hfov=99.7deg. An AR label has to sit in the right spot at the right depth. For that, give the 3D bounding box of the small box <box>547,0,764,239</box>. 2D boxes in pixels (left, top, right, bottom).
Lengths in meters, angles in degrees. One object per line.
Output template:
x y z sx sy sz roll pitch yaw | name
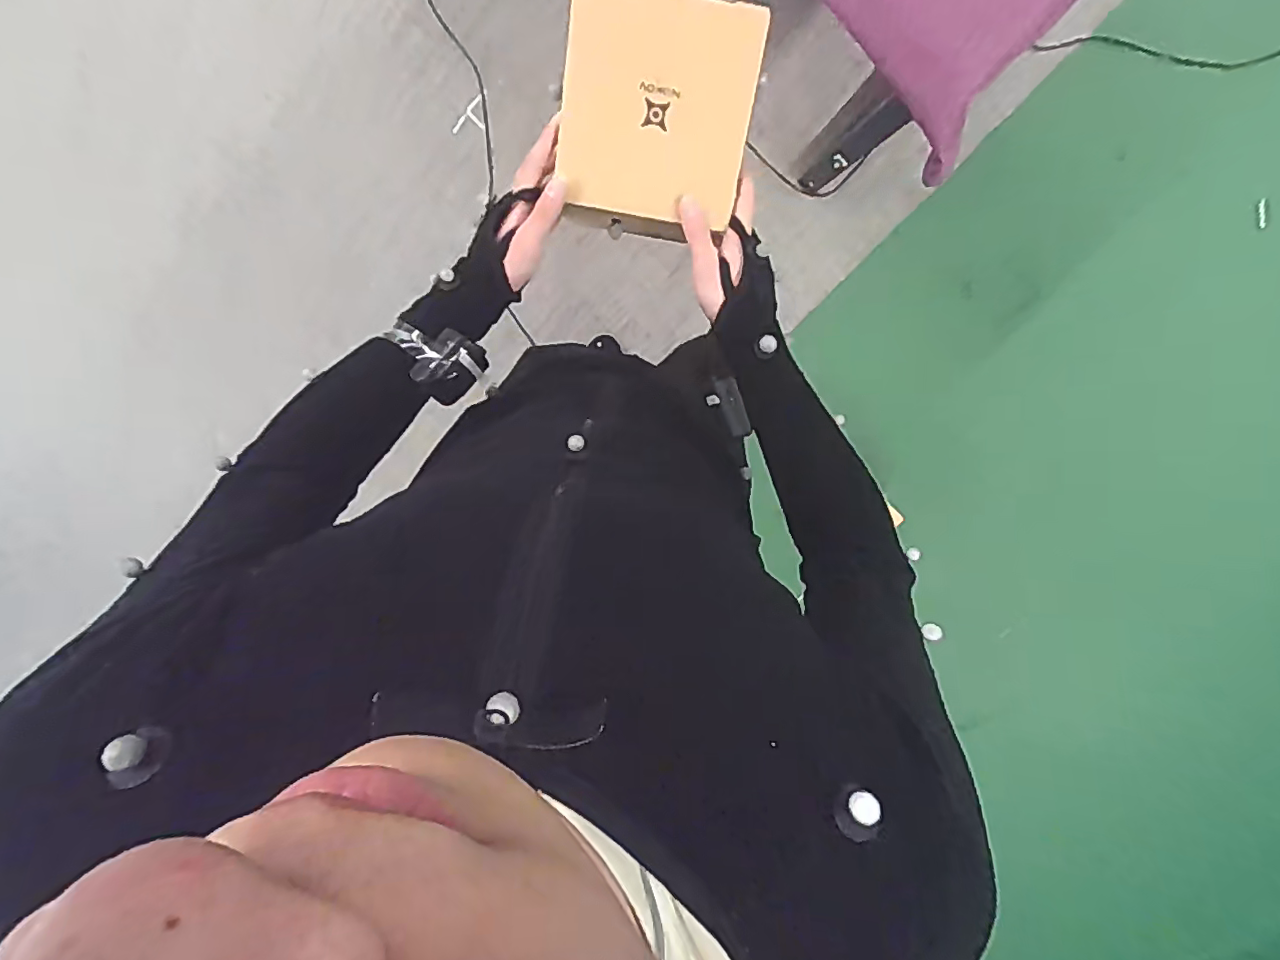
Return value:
0.007 -0.350 0.540 0.168 0.176 0.179 7 108 -5 | small box
